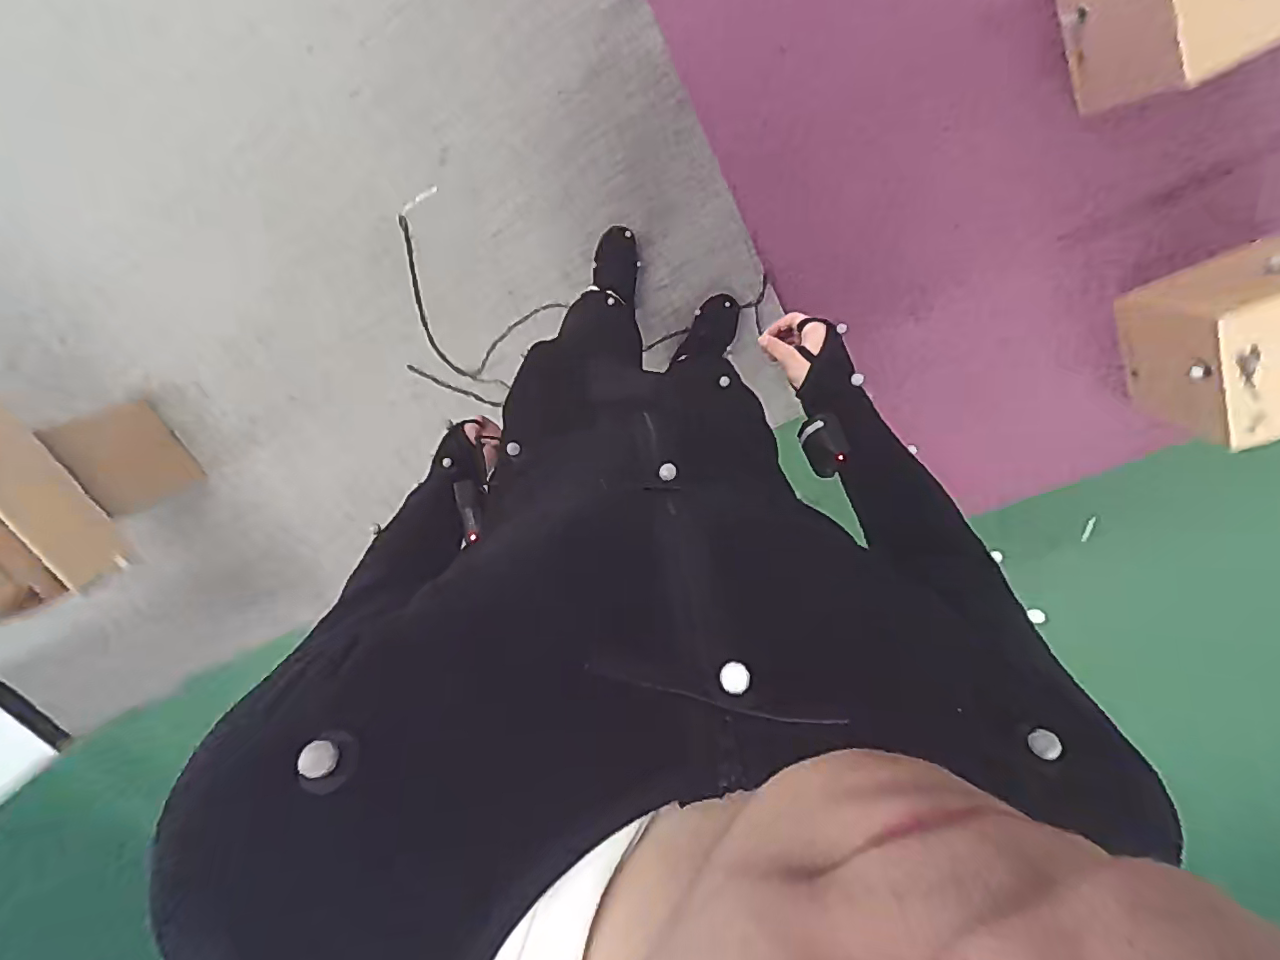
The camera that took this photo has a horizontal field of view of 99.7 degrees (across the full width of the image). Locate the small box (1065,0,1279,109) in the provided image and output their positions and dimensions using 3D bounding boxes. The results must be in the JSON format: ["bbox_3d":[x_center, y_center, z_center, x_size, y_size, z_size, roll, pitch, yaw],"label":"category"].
[{"bbox_3d":[0.541,-0.486,0.499,0.179,0.176,0.168,-23,109,19],"label":"small box"}]

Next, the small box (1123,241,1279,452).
[{"bbox_3d":[0.721,-0.162,0.624,0.179,0.176,0.168,-22,109,18],"label":"small box"}]

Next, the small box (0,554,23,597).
[{"bbox_3d":[-1.758,0.262,1.370,0.179,0.176,0.168,-16,112,15],"label":"small box"}]
